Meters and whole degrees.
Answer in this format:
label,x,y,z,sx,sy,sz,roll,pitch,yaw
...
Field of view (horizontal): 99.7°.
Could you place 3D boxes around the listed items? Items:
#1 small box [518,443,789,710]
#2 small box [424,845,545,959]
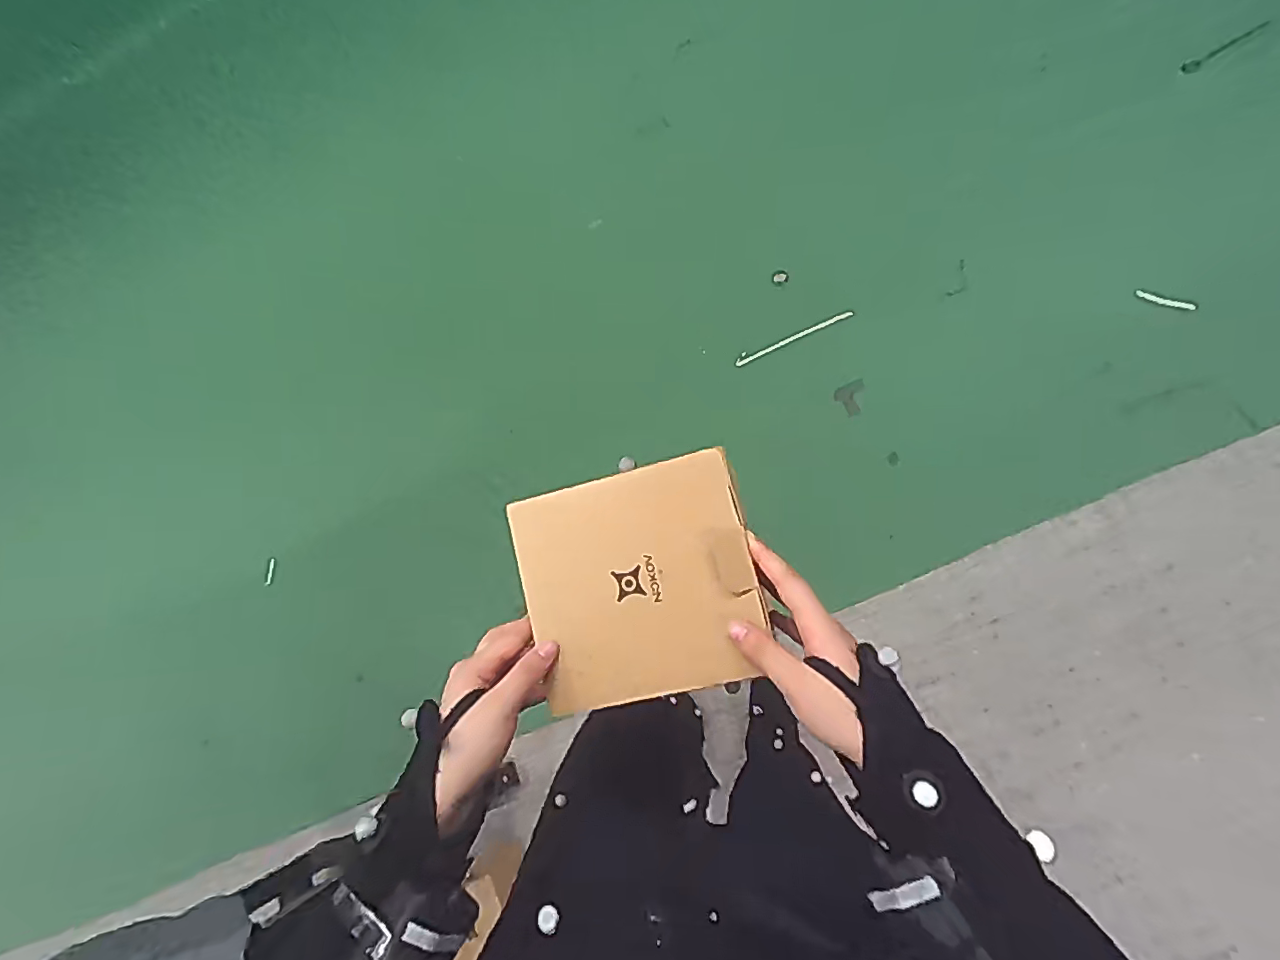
label,x,y,z,sx,sy,sz,roll,pitch,yaw
small box,0.020,0.080,0.474,0.179,0.176,0.168,-16,82,9
small box,-0.327,0.942,1.179,0.179,0.176,0.168,-30,73,4
